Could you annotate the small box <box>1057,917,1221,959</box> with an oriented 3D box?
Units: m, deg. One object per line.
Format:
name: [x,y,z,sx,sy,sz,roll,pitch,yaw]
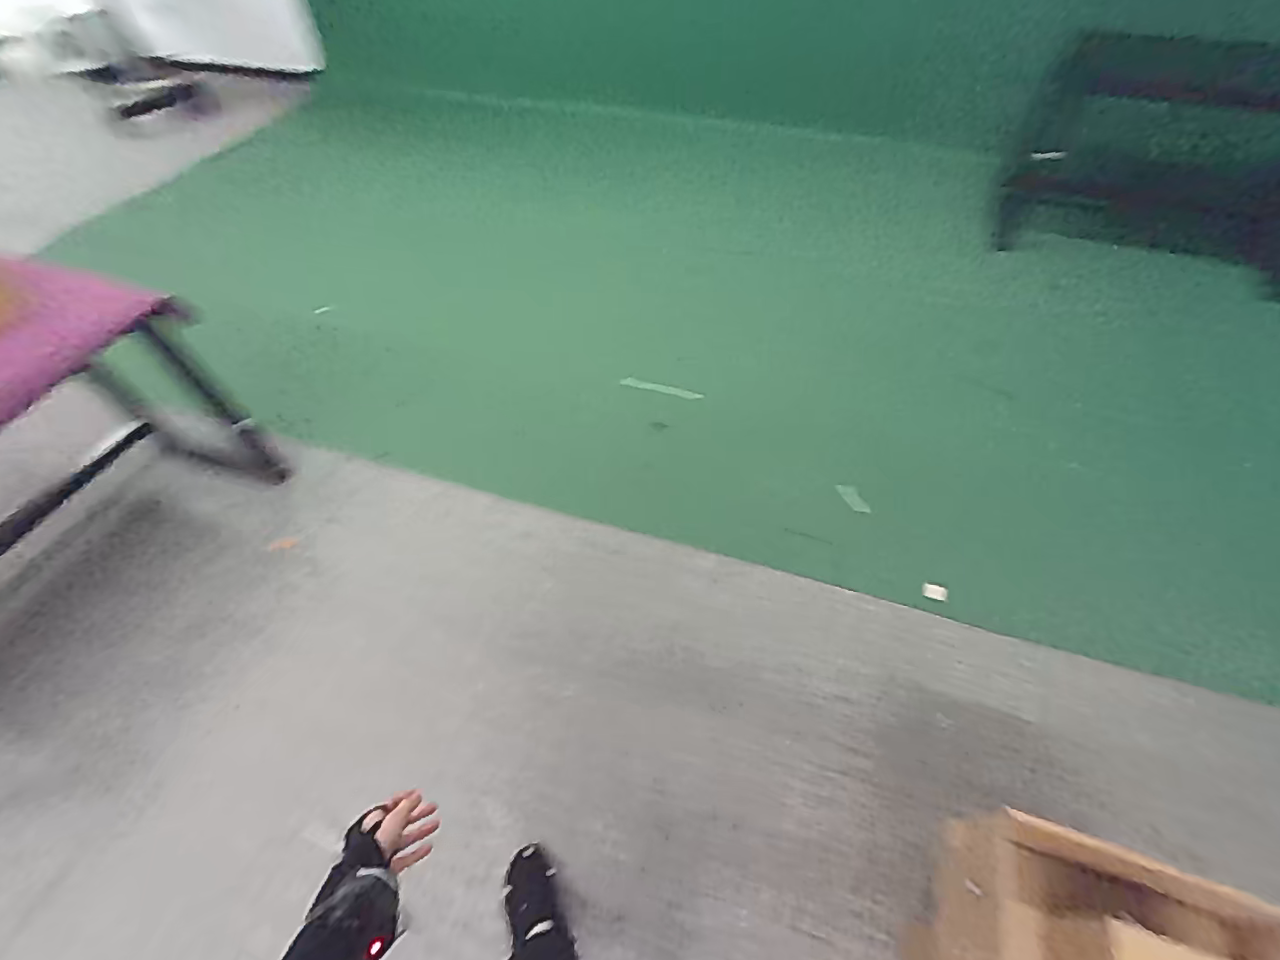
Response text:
small box: [0.671,0.696,0.692,0.179,0.176,0.168,16,56,14]
